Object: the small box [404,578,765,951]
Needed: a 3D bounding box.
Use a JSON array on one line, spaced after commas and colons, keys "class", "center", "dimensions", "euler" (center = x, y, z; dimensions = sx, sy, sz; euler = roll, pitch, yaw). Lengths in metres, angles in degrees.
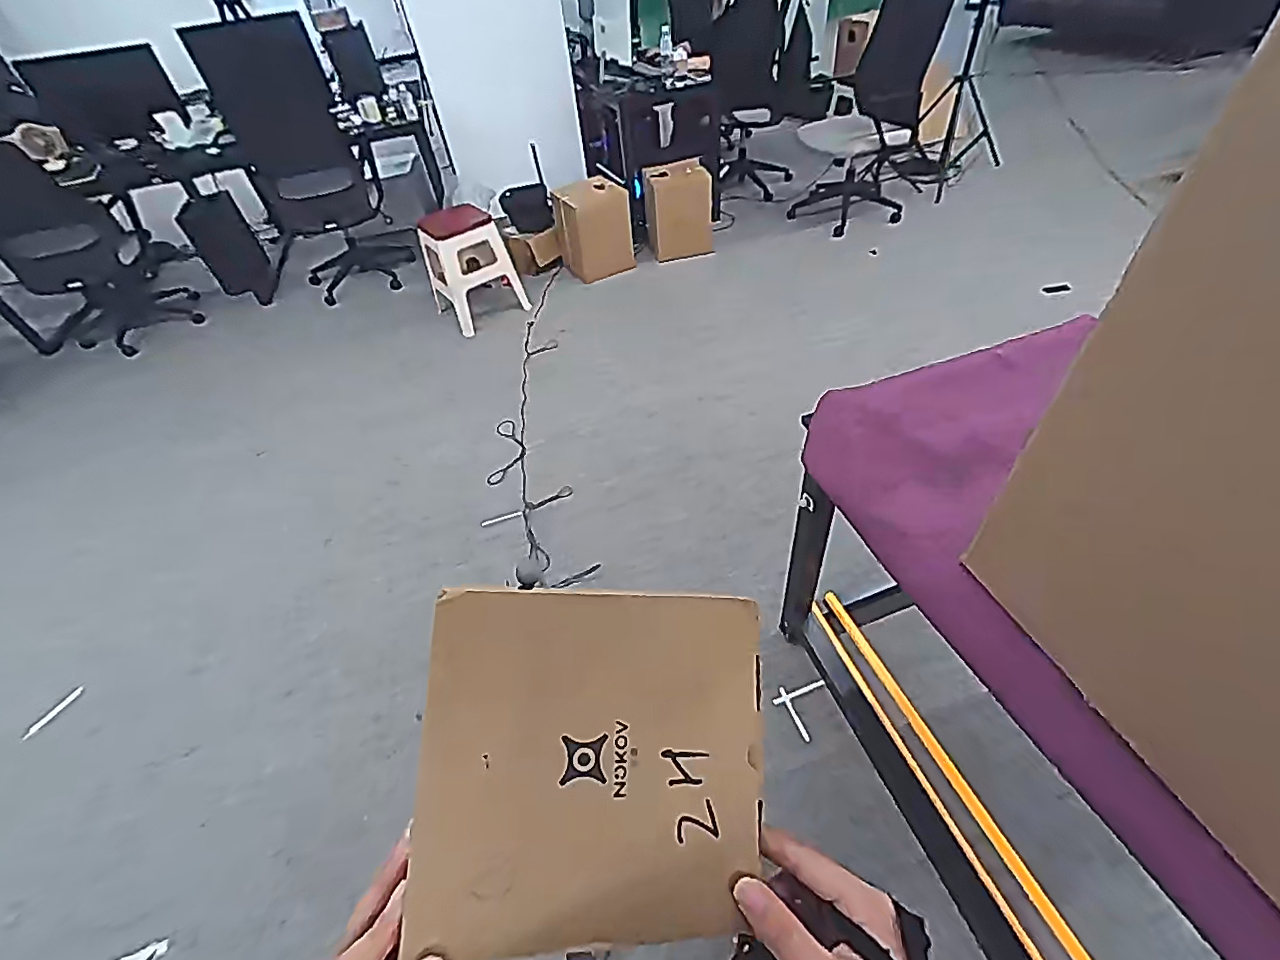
[{"class": "small box", "center": [-0.036, 0.153, 0.350], "dimensions": [0.179, 0.176, 0.168], "euler": [4, 78, -12]}]
